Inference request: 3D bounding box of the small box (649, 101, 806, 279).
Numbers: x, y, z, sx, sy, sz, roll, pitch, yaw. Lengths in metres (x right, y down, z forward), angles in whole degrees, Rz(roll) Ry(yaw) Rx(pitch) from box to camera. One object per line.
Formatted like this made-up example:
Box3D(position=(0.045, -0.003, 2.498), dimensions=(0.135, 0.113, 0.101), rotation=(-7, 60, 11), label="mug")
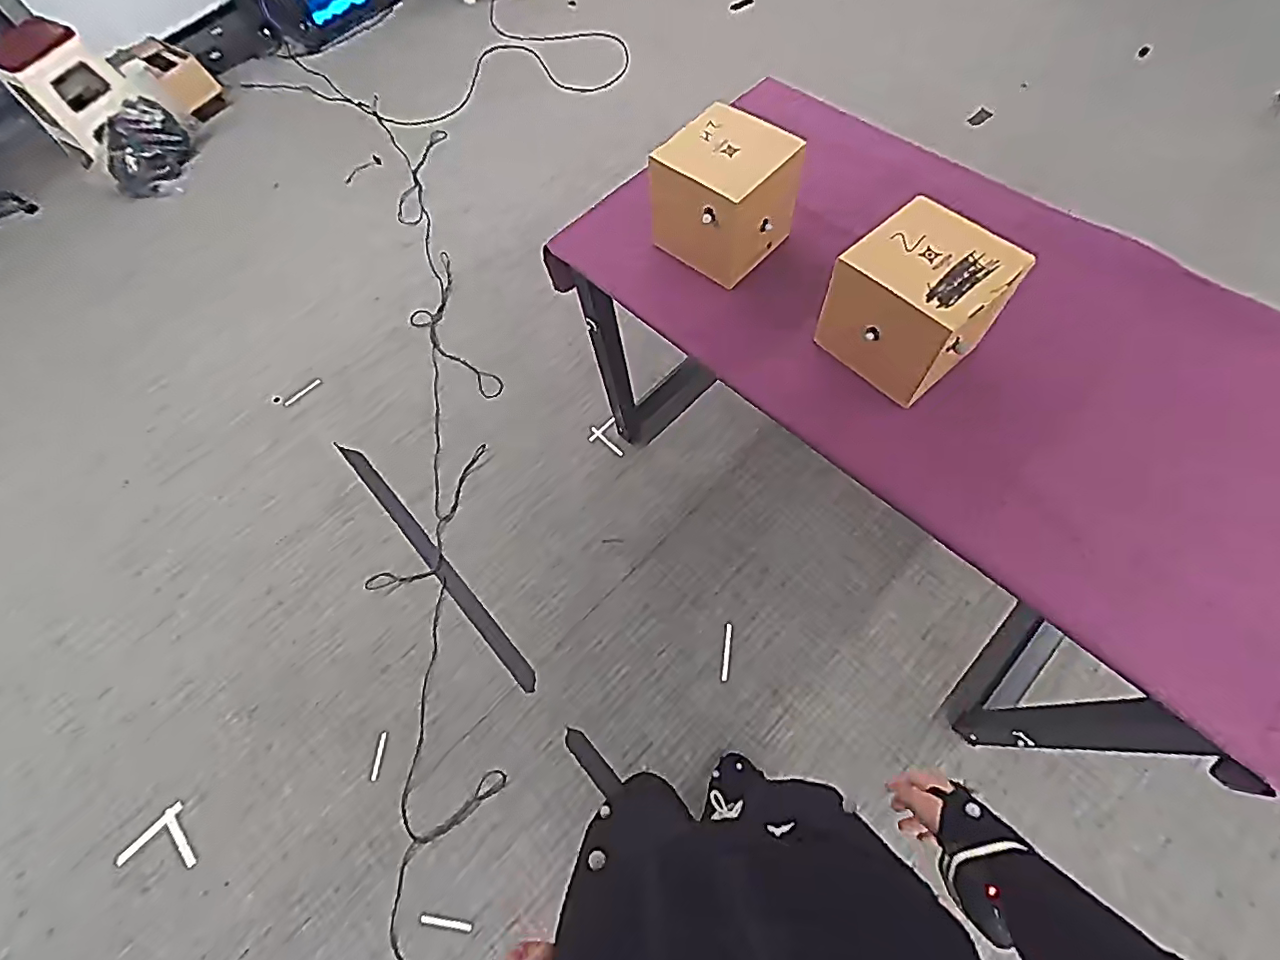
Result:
Box3D(position=(0.136, -0.459, 0.876), dimensions=(0.179, 0.176, 0.168), rotation=(40, 74, 21), label="small box")
